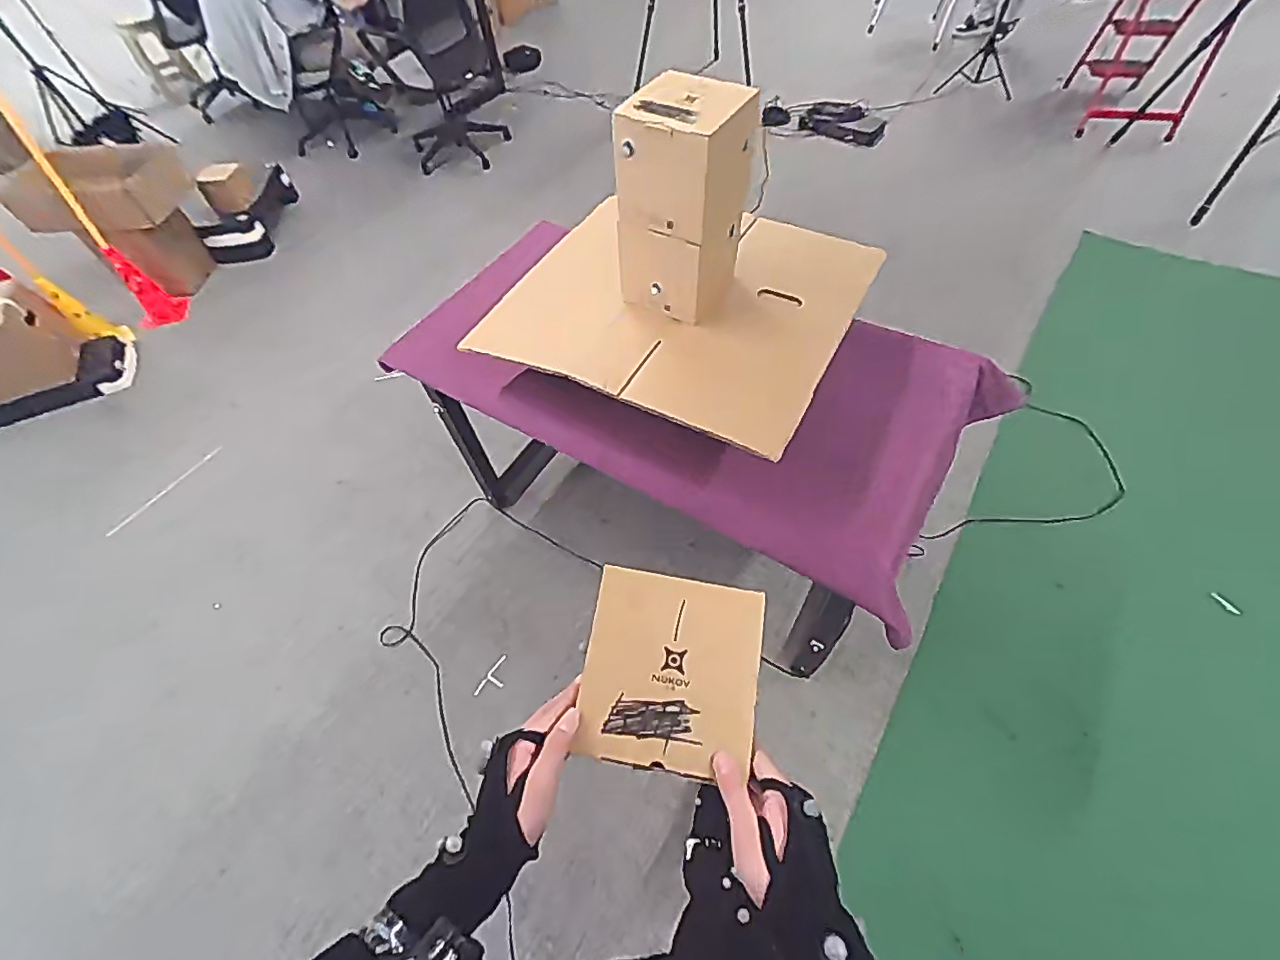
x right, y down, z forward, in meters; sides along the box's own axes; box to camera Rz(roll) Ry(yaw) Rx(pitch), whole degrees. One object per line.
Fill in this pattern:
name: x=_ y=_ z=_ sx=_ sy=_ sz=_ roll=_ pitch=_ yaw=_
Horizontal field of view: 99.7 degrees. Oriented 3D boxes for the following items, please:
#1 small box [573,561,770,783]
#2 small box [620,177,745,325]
small box: x=0.033 y=0.202 z=0.581 sx=0.168 sy=0.176 sz=0.179 roll=10 pitch=69 yaw=2
small box: x=0.077 y=-0.429 z=1.018 sx=0.168 sy=0.176 sz=0.179 roll=26 pitch=62 yaw=18
